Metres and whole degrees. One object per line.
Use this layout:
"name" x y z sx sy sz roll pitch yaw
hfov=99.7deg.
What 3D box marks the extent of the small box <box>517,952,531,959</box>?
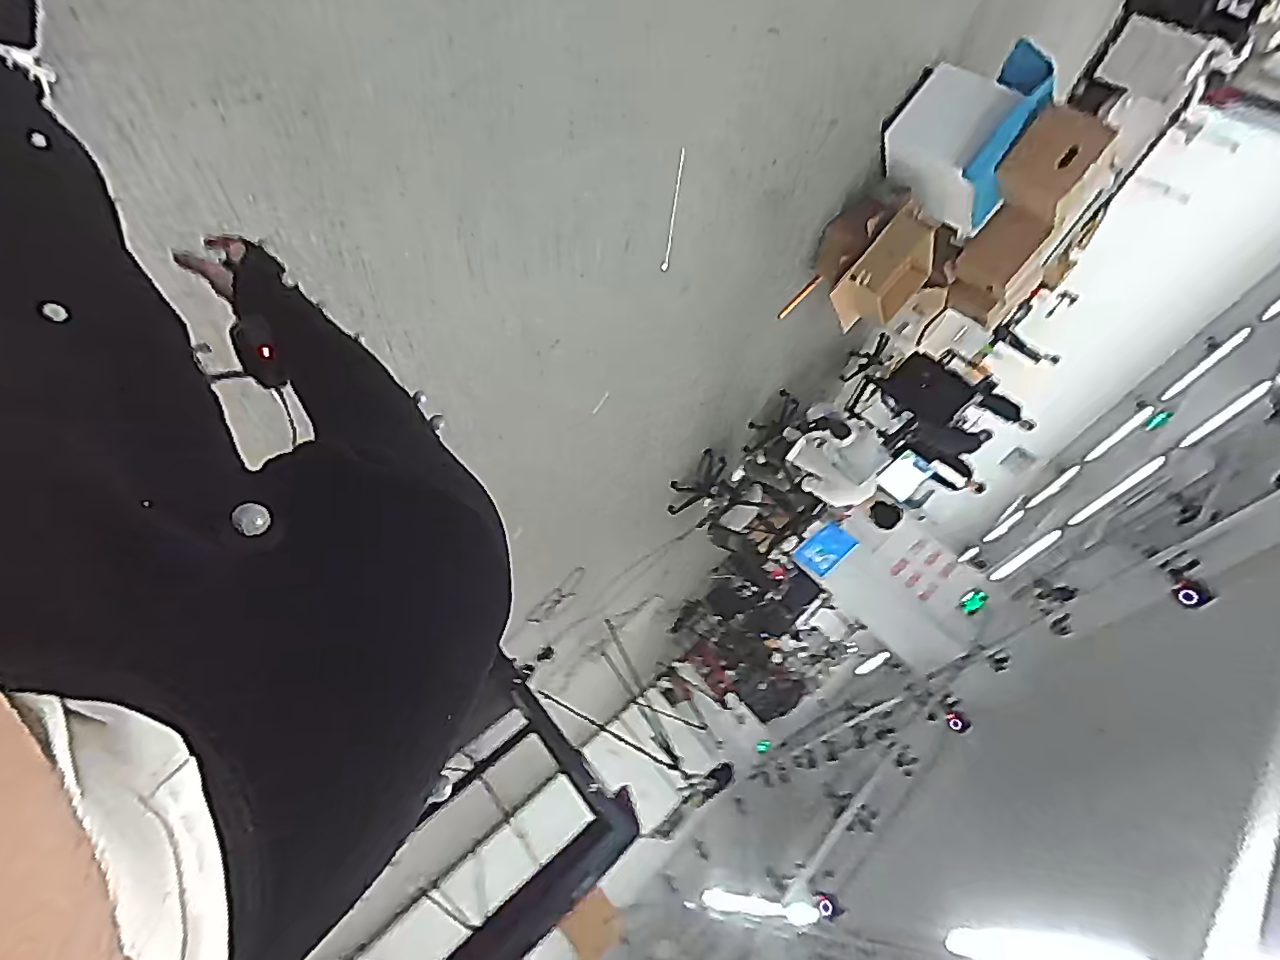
"small box" -0.370 1.578 1.626 0.179 0.176 0.168 -33 155 -31
